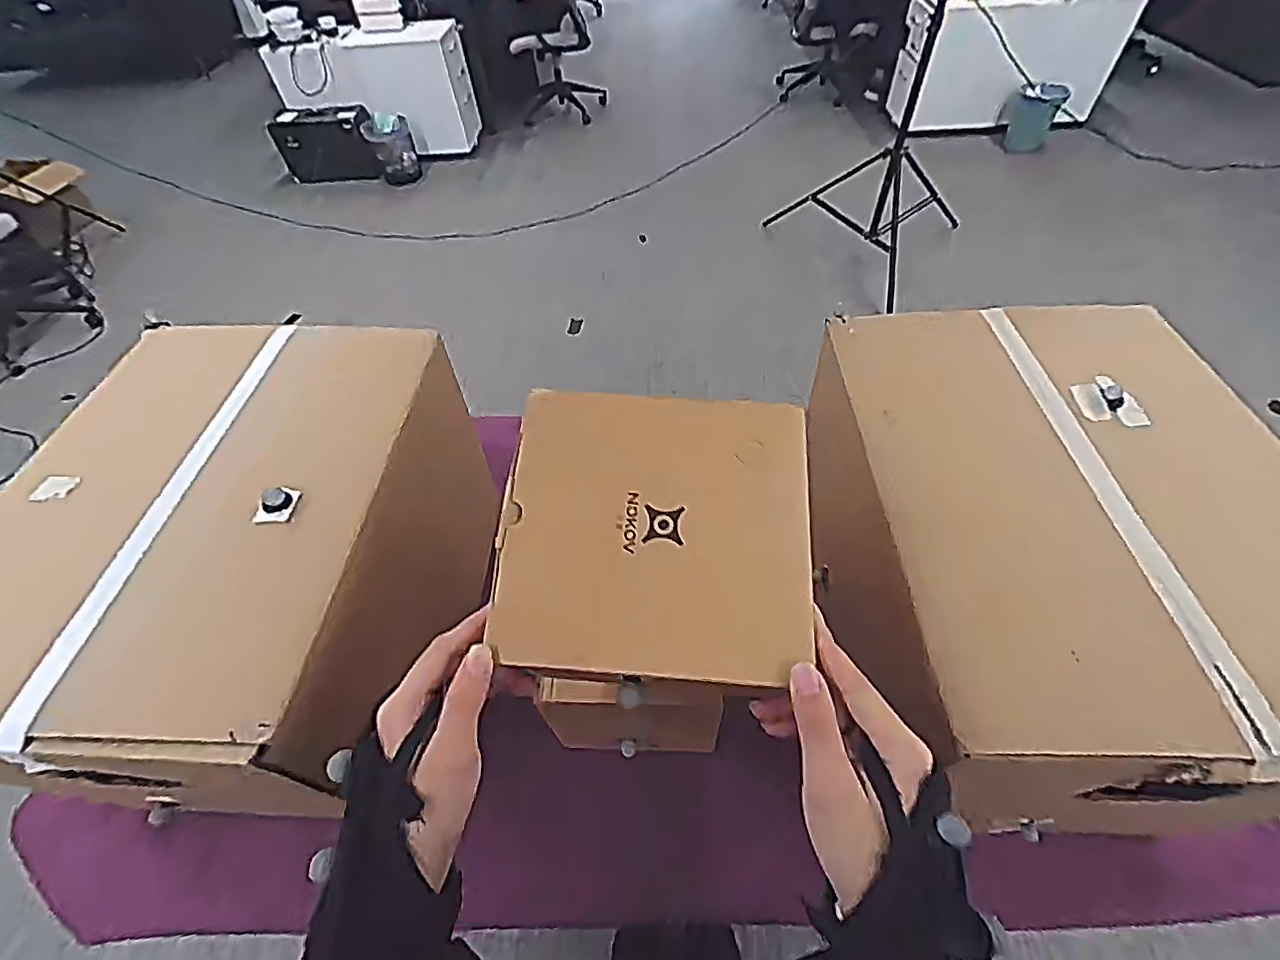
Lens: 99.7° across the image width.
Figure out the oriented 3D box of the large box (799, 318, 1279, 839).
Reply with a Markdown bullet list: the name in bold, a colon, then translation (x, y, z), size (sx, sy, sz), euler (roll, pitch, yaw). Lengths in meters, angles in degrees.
- **large box**: translation (0.338, 0.094, 0.529), size (0.320, 0.320, 0.408), euler (-1, 50, 3)

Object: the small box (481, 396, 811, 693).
- **small box**: translation (0.010, 0.057, 0.384), size (0.179, 0.176, 0.168), euler (3, 68, 3)
